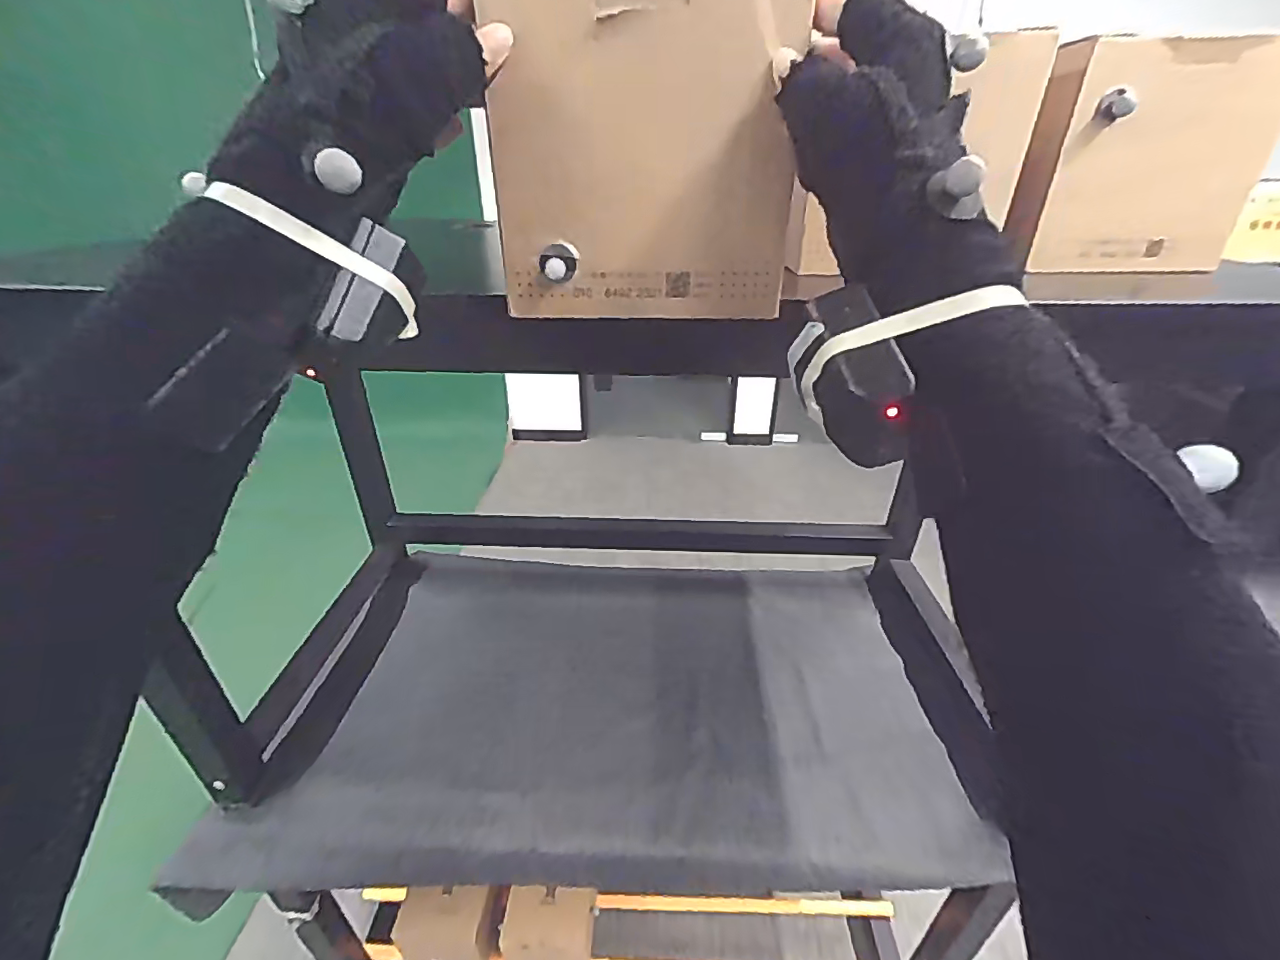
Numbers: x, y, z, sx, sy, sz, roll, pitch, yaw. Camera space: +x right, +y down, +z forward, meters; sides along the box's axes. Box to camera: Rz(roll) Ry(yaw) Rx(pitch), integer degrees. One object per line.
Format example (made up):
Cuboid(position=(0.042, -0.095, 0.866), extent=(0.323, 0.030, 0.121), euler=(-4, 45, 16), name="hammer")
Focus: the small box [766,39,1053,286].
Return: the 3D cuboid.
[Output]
Cuboid(position=(0.219, -0.286, 0.503), extent=(0.168, 0.176, 0.179), euler=(1, 31, 2), name="small box")
